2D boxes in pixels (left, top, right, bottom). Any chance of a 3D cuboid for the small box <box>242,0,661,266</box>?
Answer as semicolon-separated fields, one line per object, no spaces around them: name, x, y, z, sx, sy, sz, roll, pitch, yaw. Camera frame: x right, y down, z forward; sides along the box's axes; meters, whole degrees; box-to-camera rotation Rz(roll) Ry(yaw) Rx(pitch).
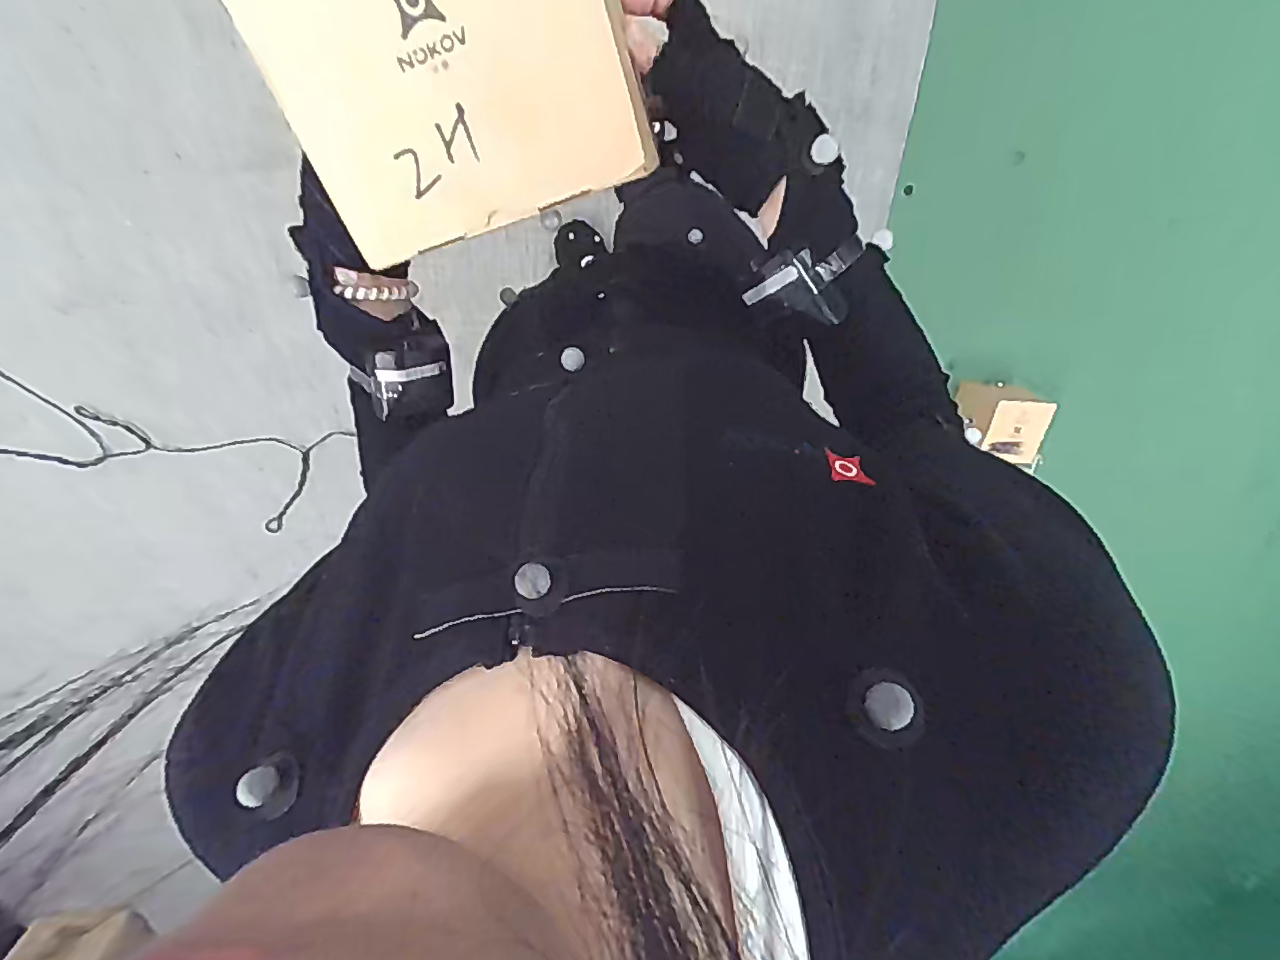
small box;-0.088;-0.249;0.316;0.168;0.176;0.179;-13;120;12
